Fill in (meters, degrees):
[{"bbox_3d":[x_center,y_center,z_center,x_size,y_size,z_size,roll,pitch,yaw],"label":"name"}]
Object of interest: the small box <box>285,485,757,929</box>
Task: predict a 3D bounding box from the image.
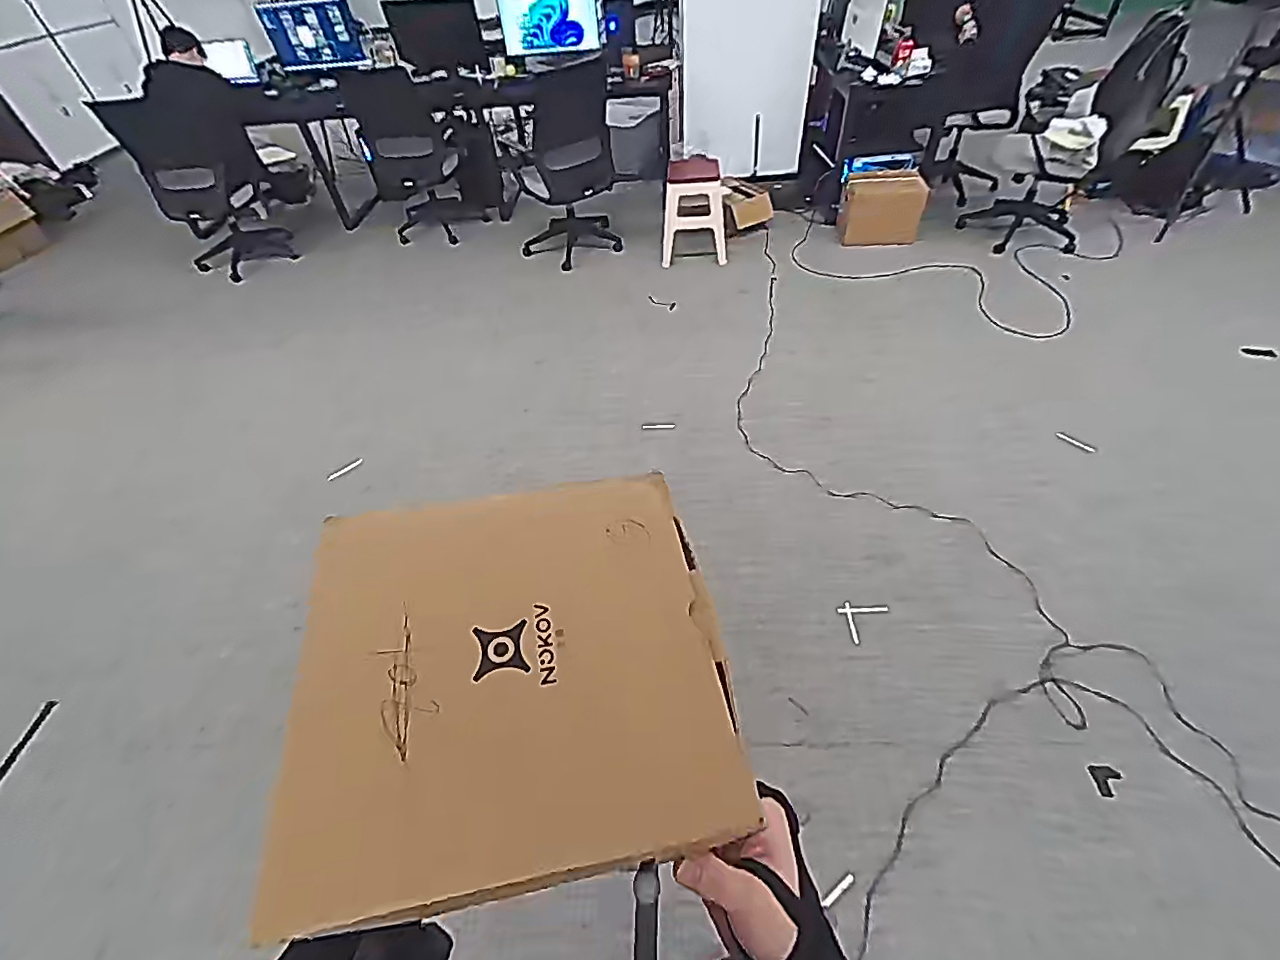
[{"bbox_3d":[-0.056,0.126,0.308,0.179,0.176,0.168,-9,53,-9],"label":"small box"}]
